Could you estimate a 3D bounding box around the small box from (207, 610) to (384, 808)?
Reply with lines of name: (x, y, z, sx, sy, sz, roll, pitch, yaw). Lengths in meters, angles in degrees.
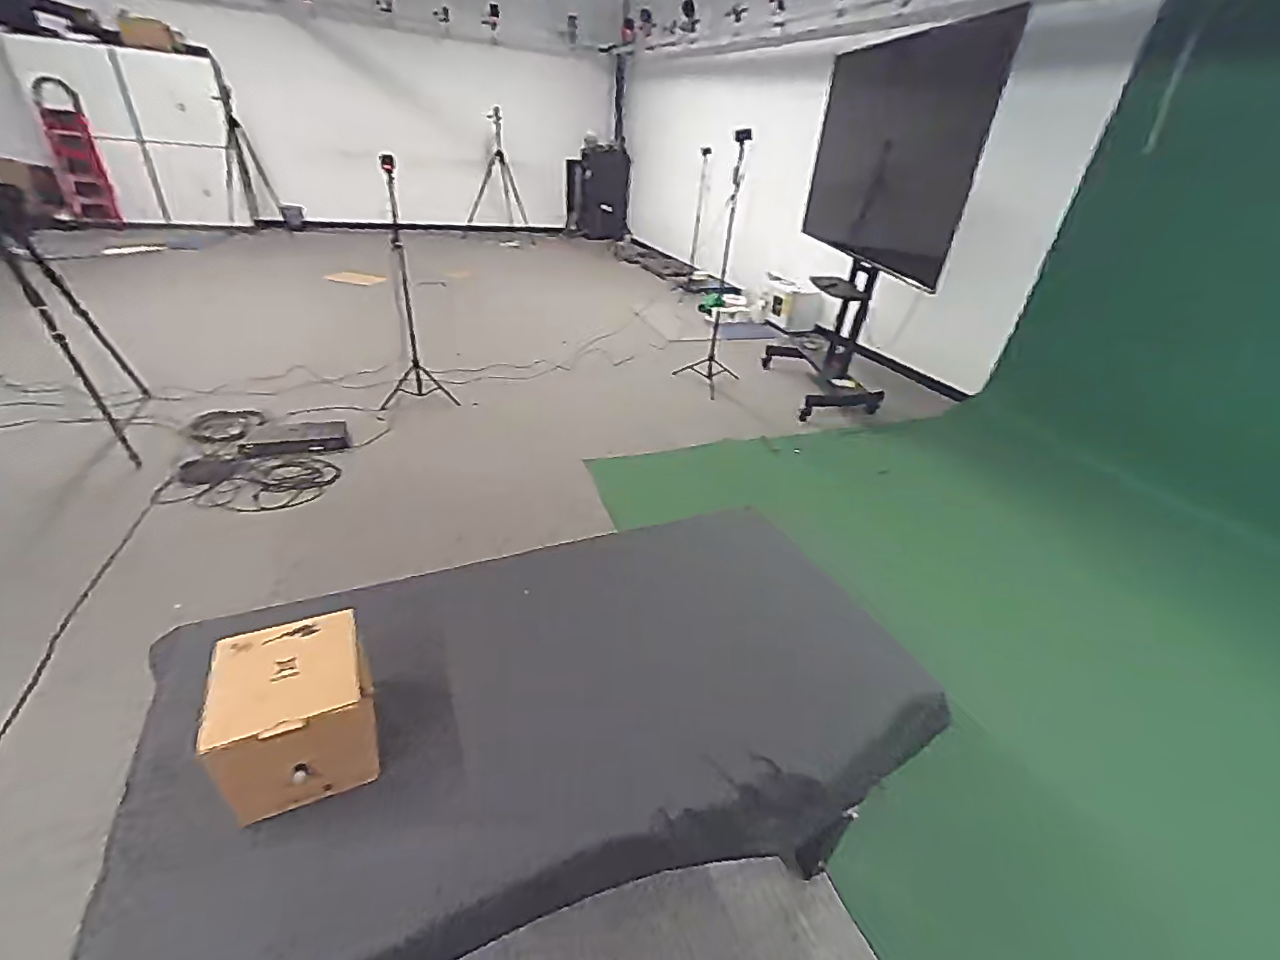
small box: (-0.464, 0.319, 0.754, 0.168, 0.176, 0.179, -11, 36, -24)
